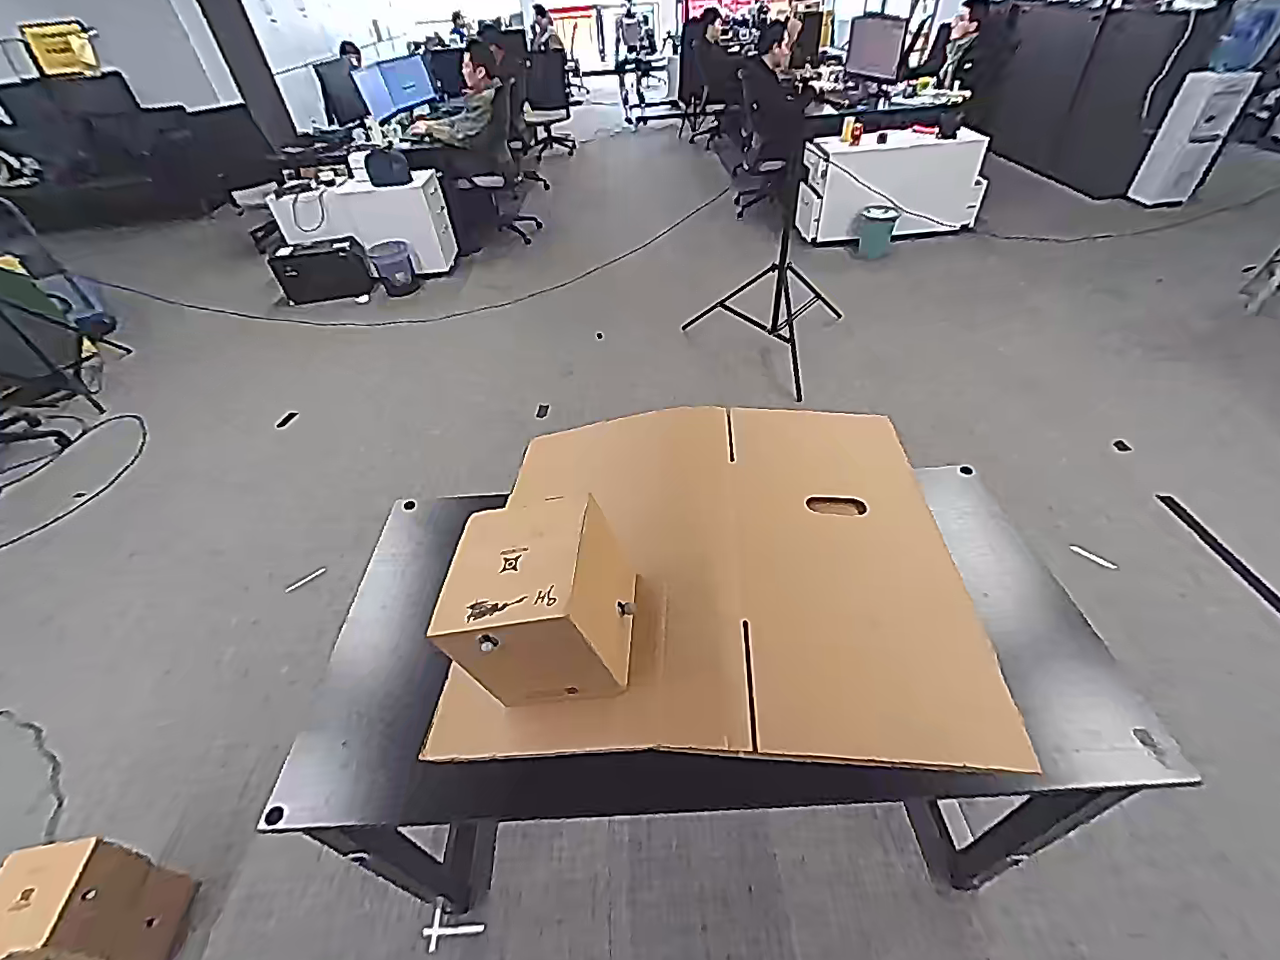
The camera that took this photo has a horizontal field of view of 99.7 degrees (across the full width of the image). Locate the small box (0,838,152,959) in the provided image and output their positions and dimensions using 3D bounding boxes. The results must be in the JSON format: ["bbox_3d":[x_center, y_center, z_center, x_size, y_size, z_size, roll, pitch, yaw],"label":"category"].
[{"bbox_3d":[-1.132,0.843,1.067,0.168,0.176,0.179,-8,41,-4],"label":"small box"}]

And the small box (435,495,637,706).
[{"bbox_3d":[-0.109,0.148,0.657,0.168,0.176,0.179,-13,40,16],"label":"small box"}]

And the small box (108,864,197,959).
[{"bbox_3d":[-1.119,0.966,1.172,0.168,0.176,0.179,-7,43,-1],"label":"small box"}]
